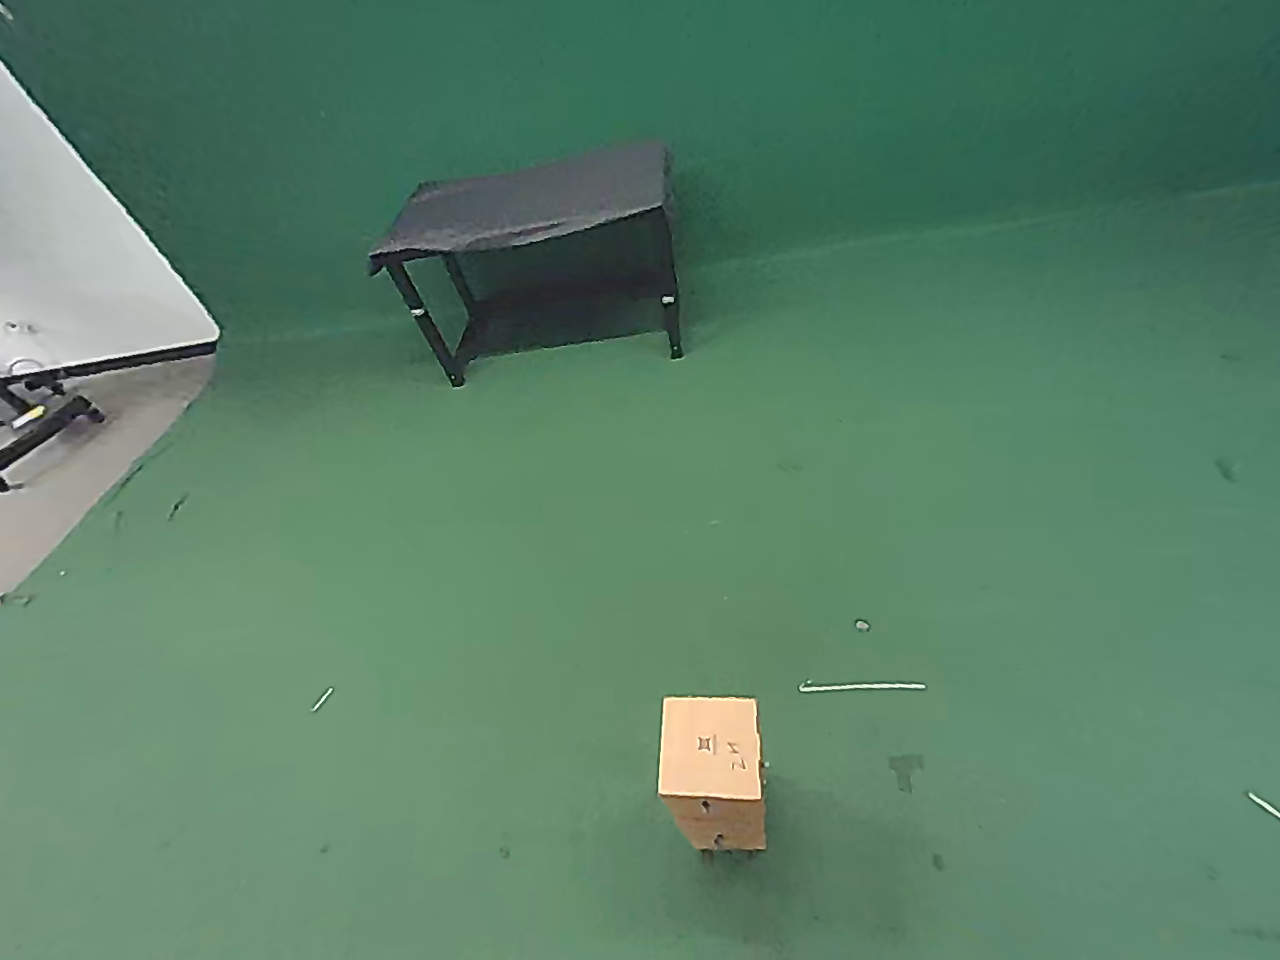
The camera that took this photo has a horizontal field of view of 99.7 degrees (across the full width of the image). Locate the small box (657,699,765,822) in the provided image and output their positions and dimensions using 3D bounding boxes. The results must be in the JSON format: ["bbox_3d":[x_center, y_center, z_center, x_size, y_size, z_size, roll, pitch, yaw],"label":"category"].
[{"bbox_3d":[0.137,0.521,1.003,0.179,0.176,0.168,-3,48,12],"label":"small box"}]

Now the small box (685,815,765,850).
[{"bbox_3d":[0.196,0.737,1.244,0.168,0.176,0.179,-6,46,10],"label":"small box"}]
